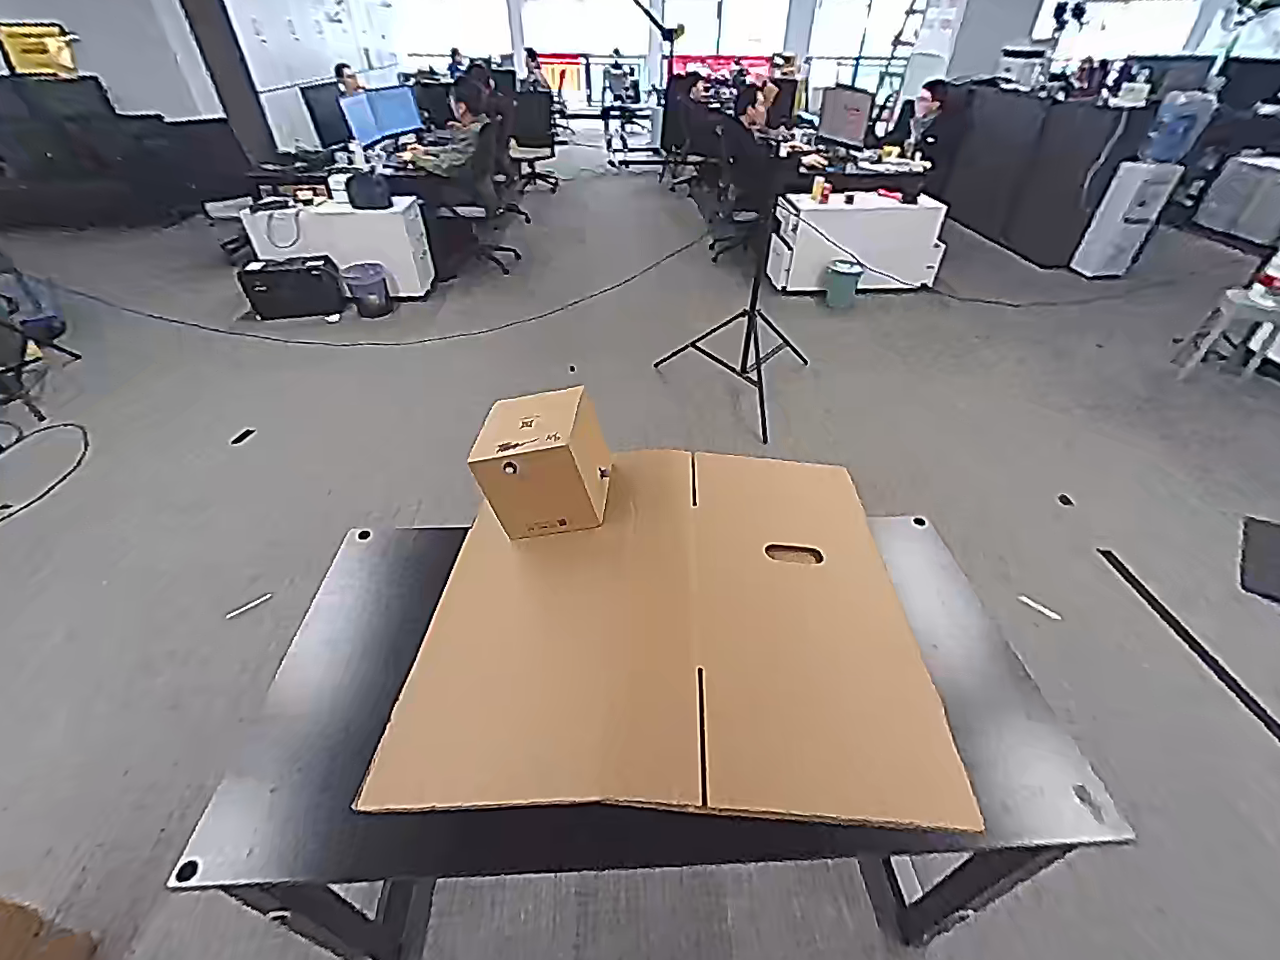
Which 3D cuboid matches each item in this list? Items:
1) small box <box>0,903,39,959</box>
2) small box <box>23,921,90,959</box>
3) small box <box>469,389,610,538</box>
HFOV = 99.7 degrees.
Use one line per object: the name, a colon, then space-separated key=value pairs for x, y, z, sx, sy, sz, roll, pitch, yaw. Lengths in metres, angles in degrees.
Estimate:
small box: x=-1.241 y=0.863 z=0.946 sx=0.168 sy=0.176 sz=0.179 roll=-5 pitch=39 yaw=-8
small box: x=-1.240 y=0.992 z=1.045 sx=0.168 sy=0.176 sz=0.179 roll=-4 pitch=40 yaw=-5
small box: x=-0.154 y=-0.027 z=0.905 sx=0.168 sy=0.176 sz=0.179 roll=-10 pitch=37 yaw=12
